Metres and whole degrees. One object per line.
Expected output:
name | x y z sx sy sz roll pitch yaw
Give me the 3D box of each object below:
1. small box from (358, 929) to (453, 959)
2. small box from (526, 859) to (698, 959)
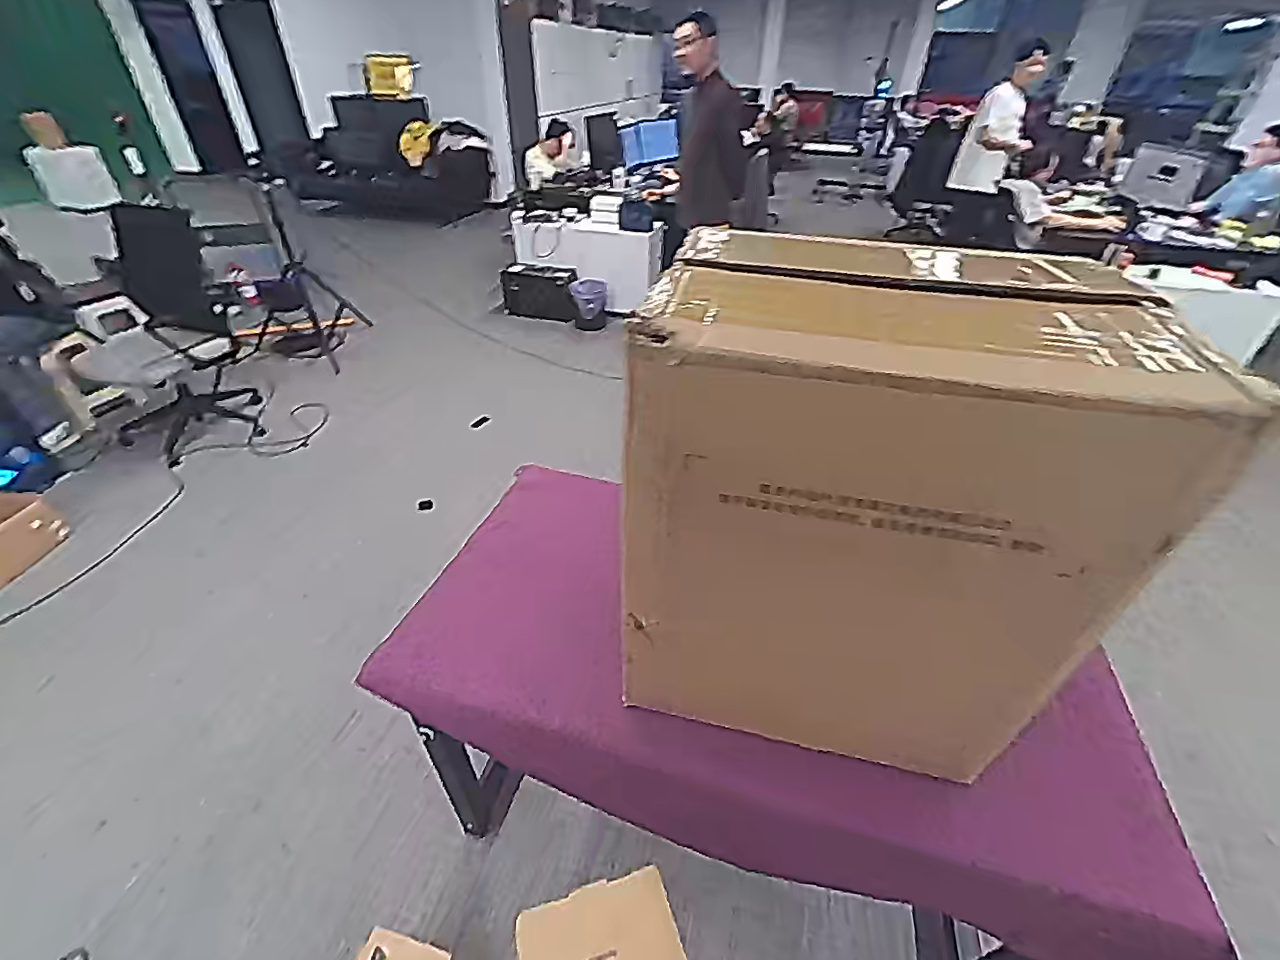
small box | -0.468 1.020 1.046 0.179 0.176 0.168 10 39 11
small box | -0.018 0.546 0.548 0.168 0.176 0.179 -12 16 -12
